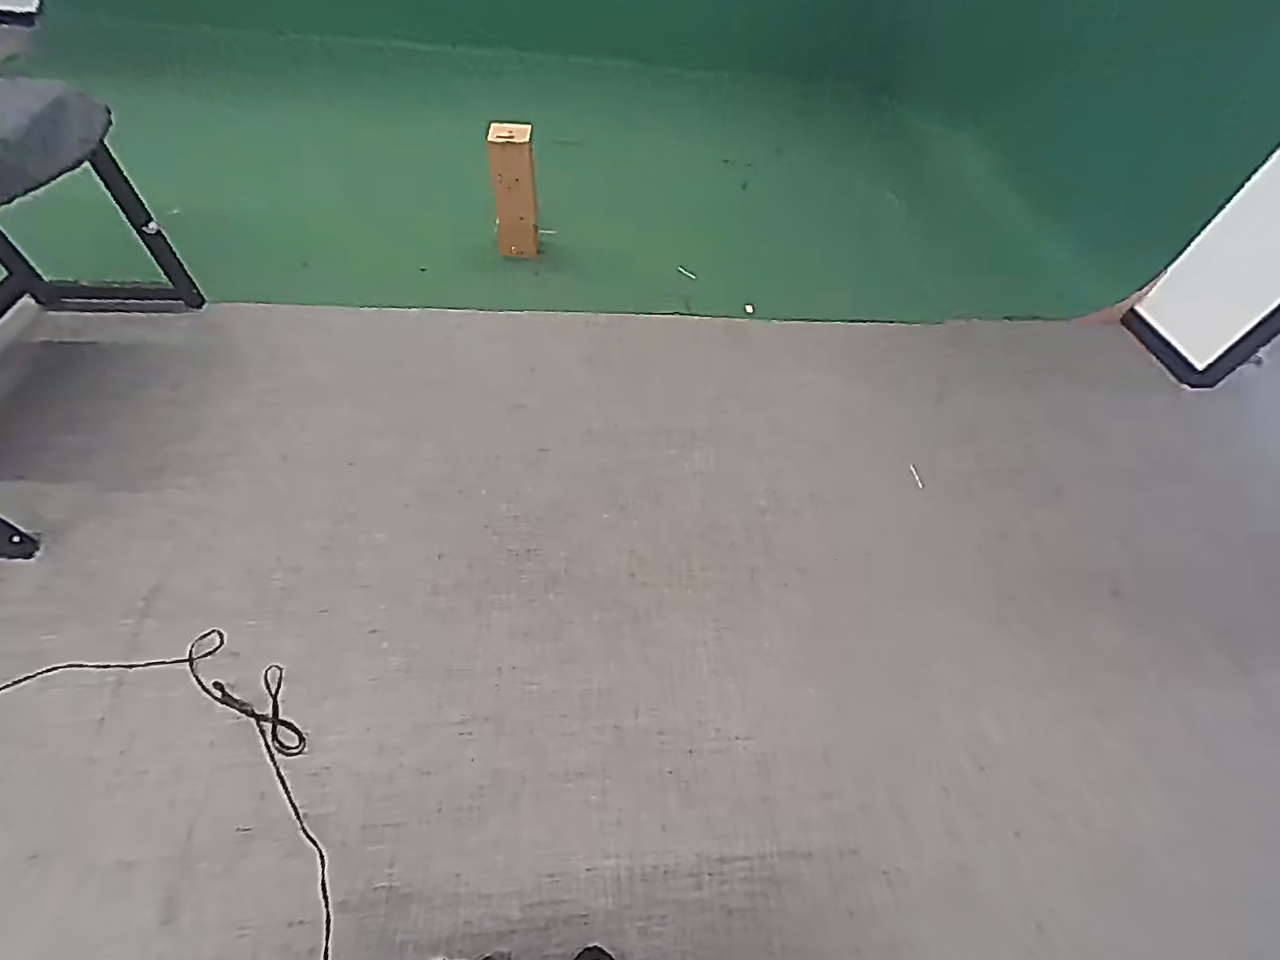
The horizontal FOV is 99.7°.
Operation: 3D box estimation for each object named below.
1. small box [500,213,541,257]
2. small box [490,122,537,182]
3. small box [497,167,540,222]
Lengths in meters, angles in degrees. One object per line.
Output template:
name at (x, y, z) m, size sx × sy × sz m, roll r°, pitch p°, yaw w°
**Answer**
small box at (-0.553, -1.166, 2.519) m, size 0.168 × 0.176 × 0.179 m, roll 0°, pitch 54°, yaw -4°
small box at (-0.524, -1.368, 2.261) m, size 0.168 × 0.176 × 0.179 m, roll 0°, pitch 52°, yaw -5°
small box at (-0.533, -1.269, 2.393) m, size 0.168 × 0.176 × 0.179 m, roll 0°, pitch 52°, yaw -5°
